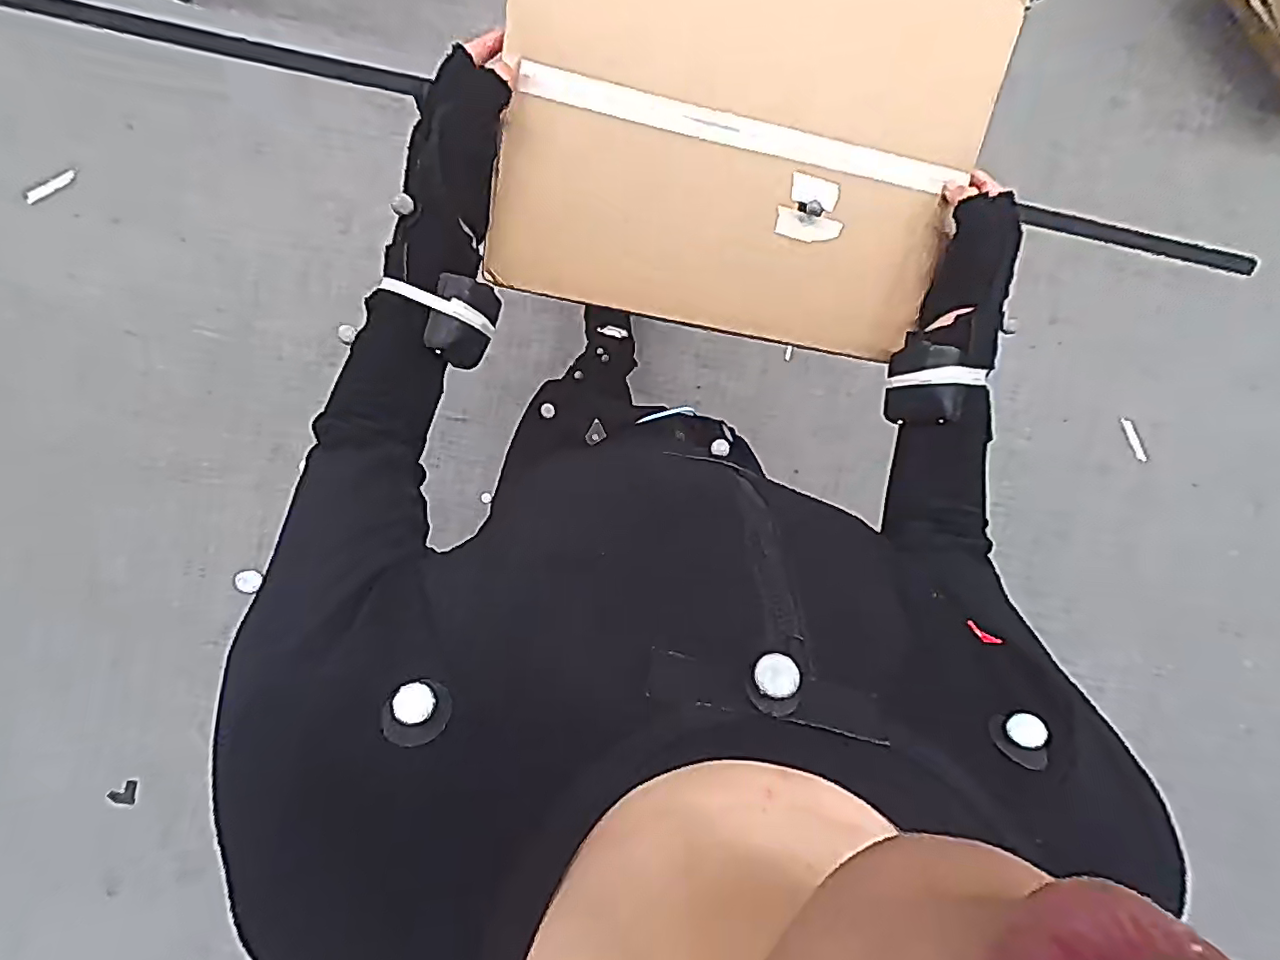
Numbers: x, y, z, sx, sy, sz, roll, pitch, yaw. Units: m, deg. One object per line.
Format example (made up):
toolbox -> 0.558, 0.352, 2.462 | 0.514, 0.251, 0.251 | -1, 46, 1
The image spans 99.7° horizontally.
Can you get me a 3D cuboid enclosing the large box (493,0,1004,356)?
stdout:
large box -> 0.071, -0.340, 0.608 | 0.408, 0.320, 0.320 | 9, 108, -9
